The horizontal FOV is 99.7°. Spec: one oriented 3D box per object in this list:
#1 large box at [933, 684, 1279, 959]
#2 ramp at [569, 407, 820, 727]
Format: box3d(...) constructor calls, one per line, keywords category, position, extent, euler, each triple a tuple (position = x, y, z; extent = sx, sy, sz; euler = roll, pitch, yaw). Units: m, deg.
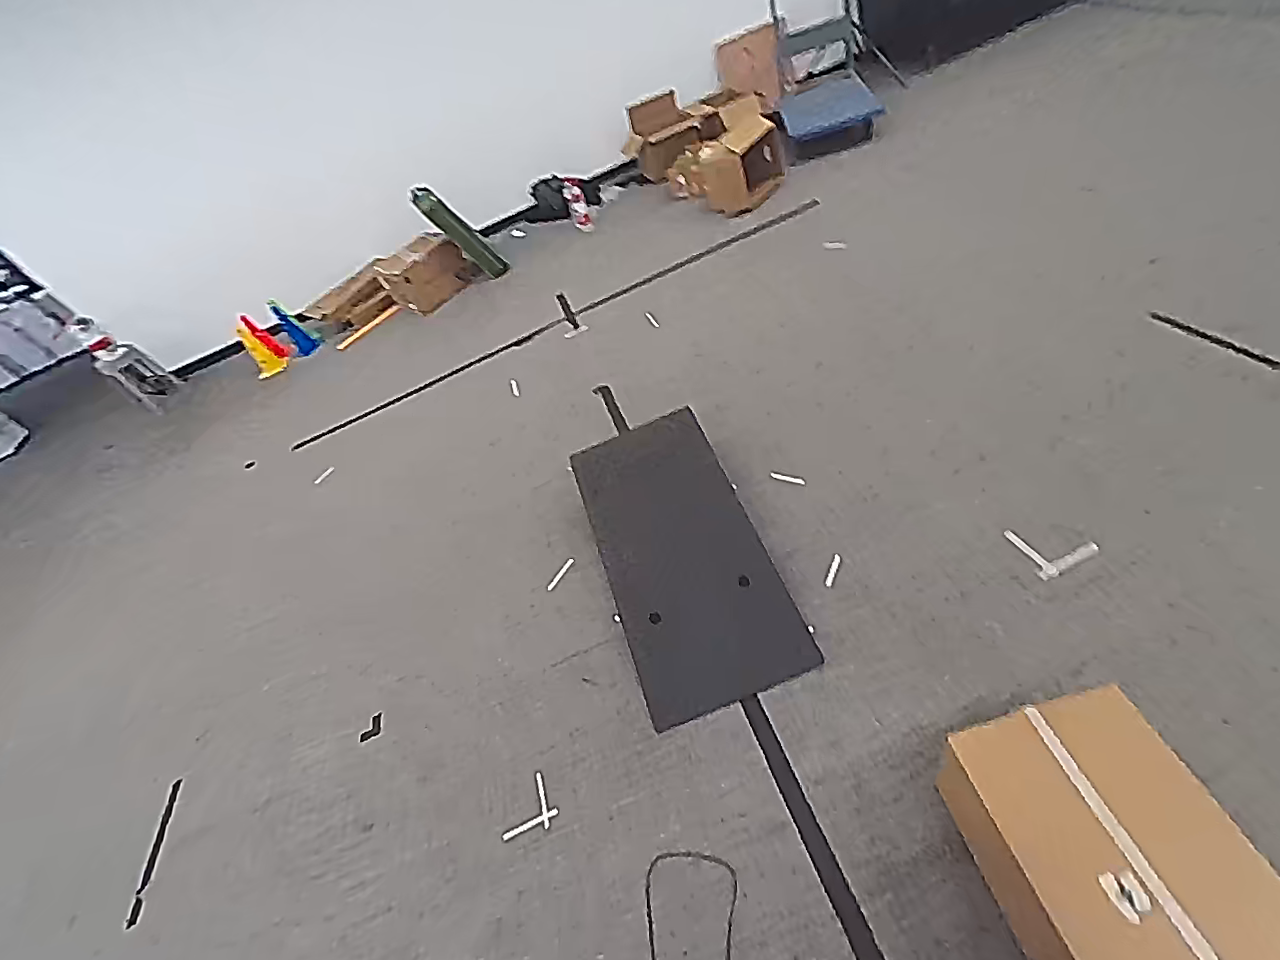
box3d(category="large box", position=(0.788, 0.646, 0.951), extent=(0.320, 0.320, 0.408), euler=(-21, 45, 5))
box3d(category="ramp", position=(0.113, 0.202, 1.738), extent=(0.509, 0.206, 0.991), euler=(-24, 45, 0))
